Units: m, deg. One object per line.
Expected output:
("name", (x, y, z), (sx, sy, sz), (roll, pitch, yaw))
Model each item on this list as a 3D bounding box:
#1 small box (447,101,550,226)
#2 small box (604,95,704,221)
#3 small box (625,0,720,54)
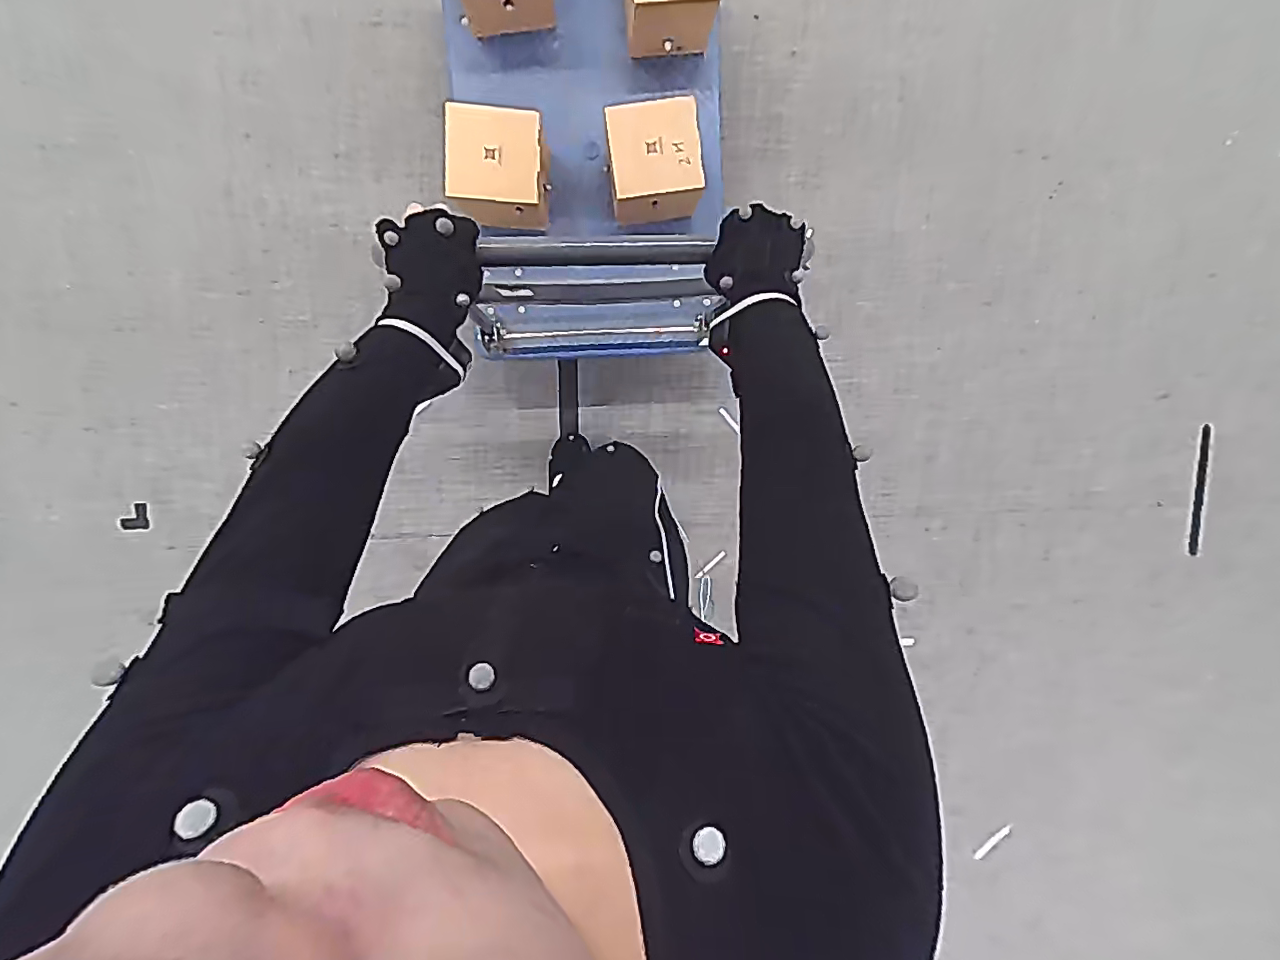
("small box", (-0.281, -0.631, 1.097), (0.179, 0.176, 0.168), (2, 99, -5))
("small box", (0.025, -0.651, 1.112), (0.179, 0.176, 0.168), (-8, 100, -2))
("small box", (0.056, -0.984, 1.060), (0.168, 0.176, 0.179), (-6, 101, -3))
